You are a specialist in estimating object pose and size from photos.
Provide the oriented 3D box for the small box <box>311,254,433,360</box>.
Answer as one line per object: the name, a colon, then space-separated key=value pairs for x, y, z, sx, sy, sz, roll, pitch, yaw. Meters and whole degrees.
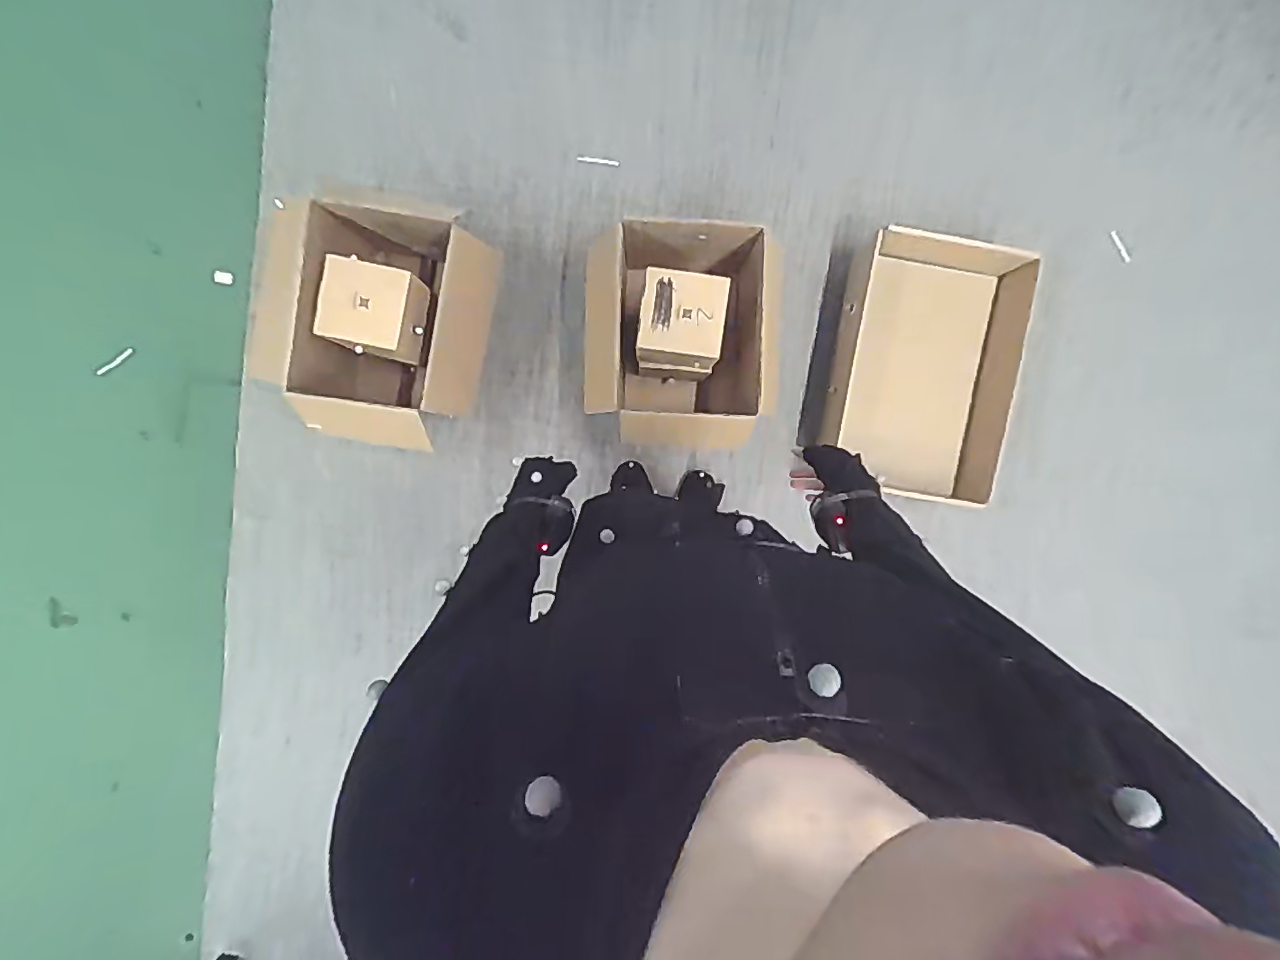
small box: x=-0.572 y=-0.367 z=1.180 sx=0.179 sy=0.176 sz=0.168 roll=11 pitch=92 yaw=-2
